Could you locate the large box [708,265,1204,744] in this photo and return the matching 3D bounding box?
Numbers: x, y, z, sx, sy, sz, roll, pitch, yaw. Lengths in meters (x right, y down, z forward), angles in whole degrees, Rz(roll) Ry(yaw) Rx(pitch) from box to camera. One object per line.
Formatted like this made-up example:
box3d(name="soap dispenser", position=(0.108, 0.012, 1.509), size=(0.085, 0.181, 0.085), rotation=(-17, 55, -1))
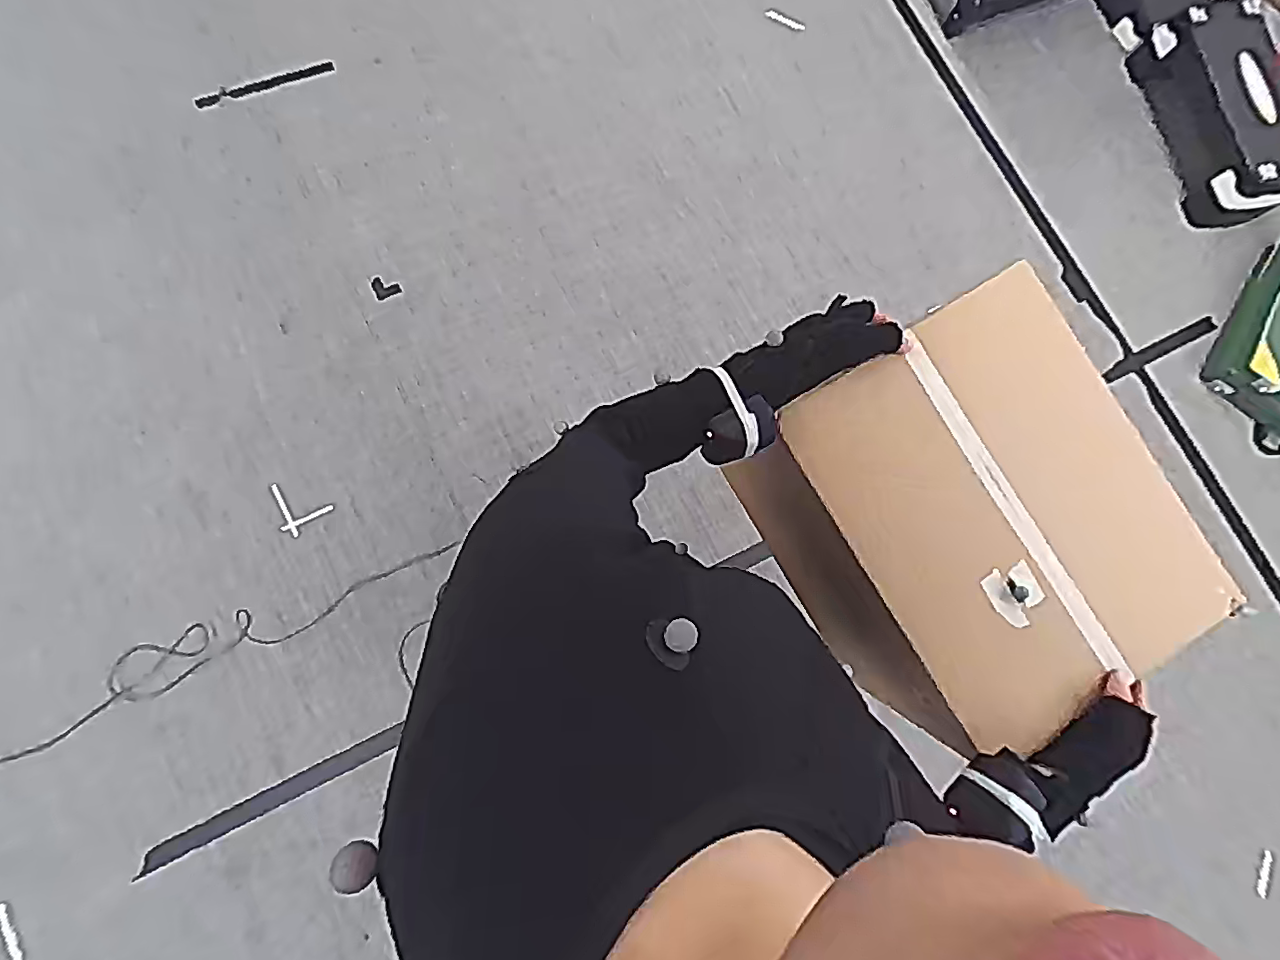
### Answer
box3d(name="large box", position=(0.343, 0.025, 0.695), size=(0.320, 0.320, 0.408), rotation=(-31, 90, -5))
